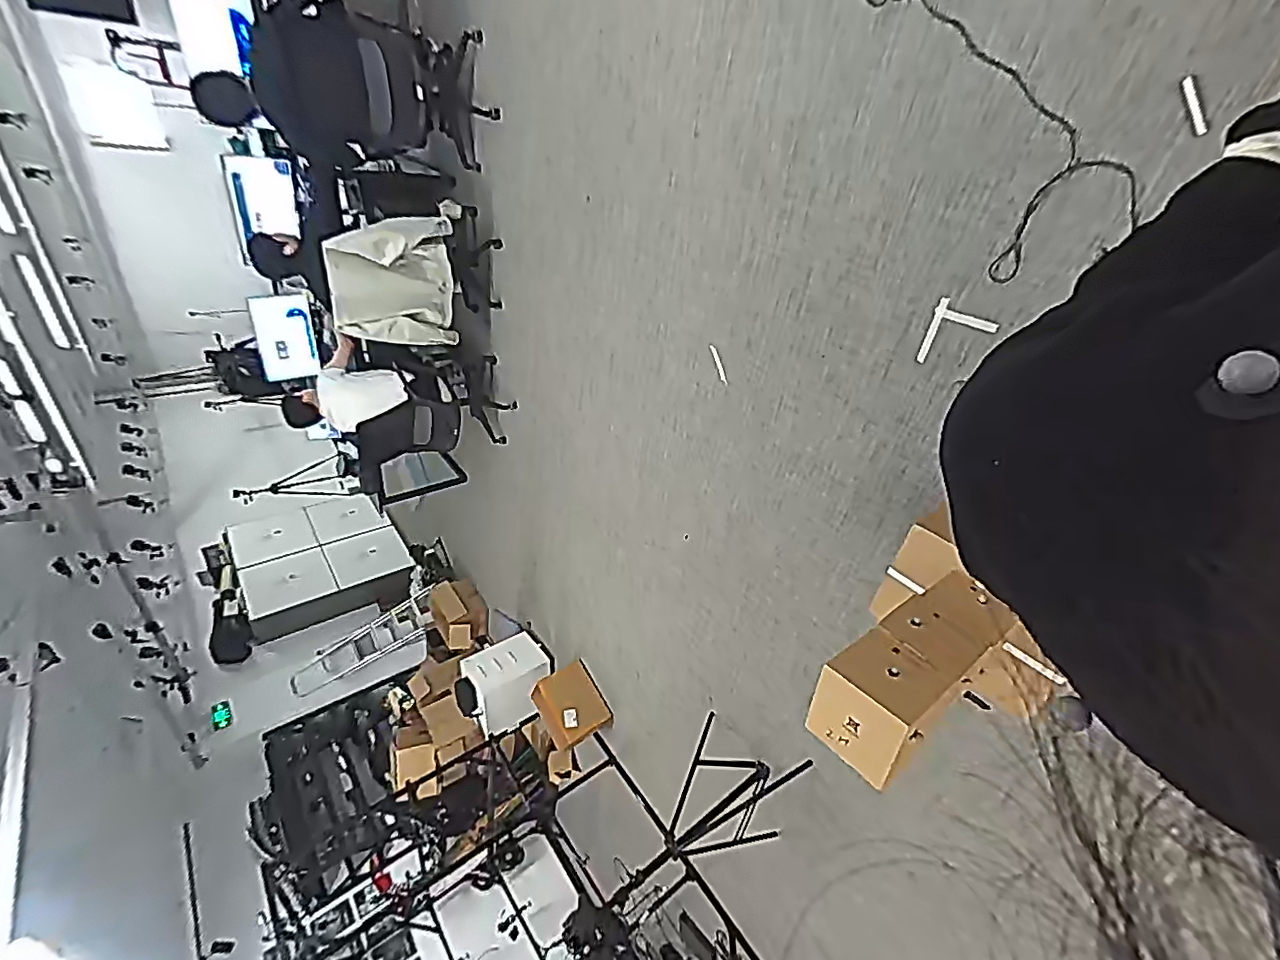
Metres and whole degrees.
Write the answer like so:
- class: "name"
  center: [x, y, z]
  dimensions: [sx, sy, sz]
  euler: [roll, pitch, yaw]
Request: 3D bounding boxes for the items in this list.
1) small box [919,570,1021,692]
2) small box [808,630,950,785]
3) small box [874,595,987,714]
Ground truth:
- class: "small box"
  center: [0.704, 0.333, 1.205]
  dimensions: [0.168, 0.176, 0.179]
  euler: [38, 132, 38]
- class: "small box"
  center: [0.449, 0.415, 1.017]
  dimensions: [0.168, 0.176, 0.179]
  euler: [34, 130, 43]
- class: "small box"
  center: [0.576, 0.368, 1.112]
  dimensions: [0.168, 0.176, 0.179]
  euler: [38, 134, 40]
